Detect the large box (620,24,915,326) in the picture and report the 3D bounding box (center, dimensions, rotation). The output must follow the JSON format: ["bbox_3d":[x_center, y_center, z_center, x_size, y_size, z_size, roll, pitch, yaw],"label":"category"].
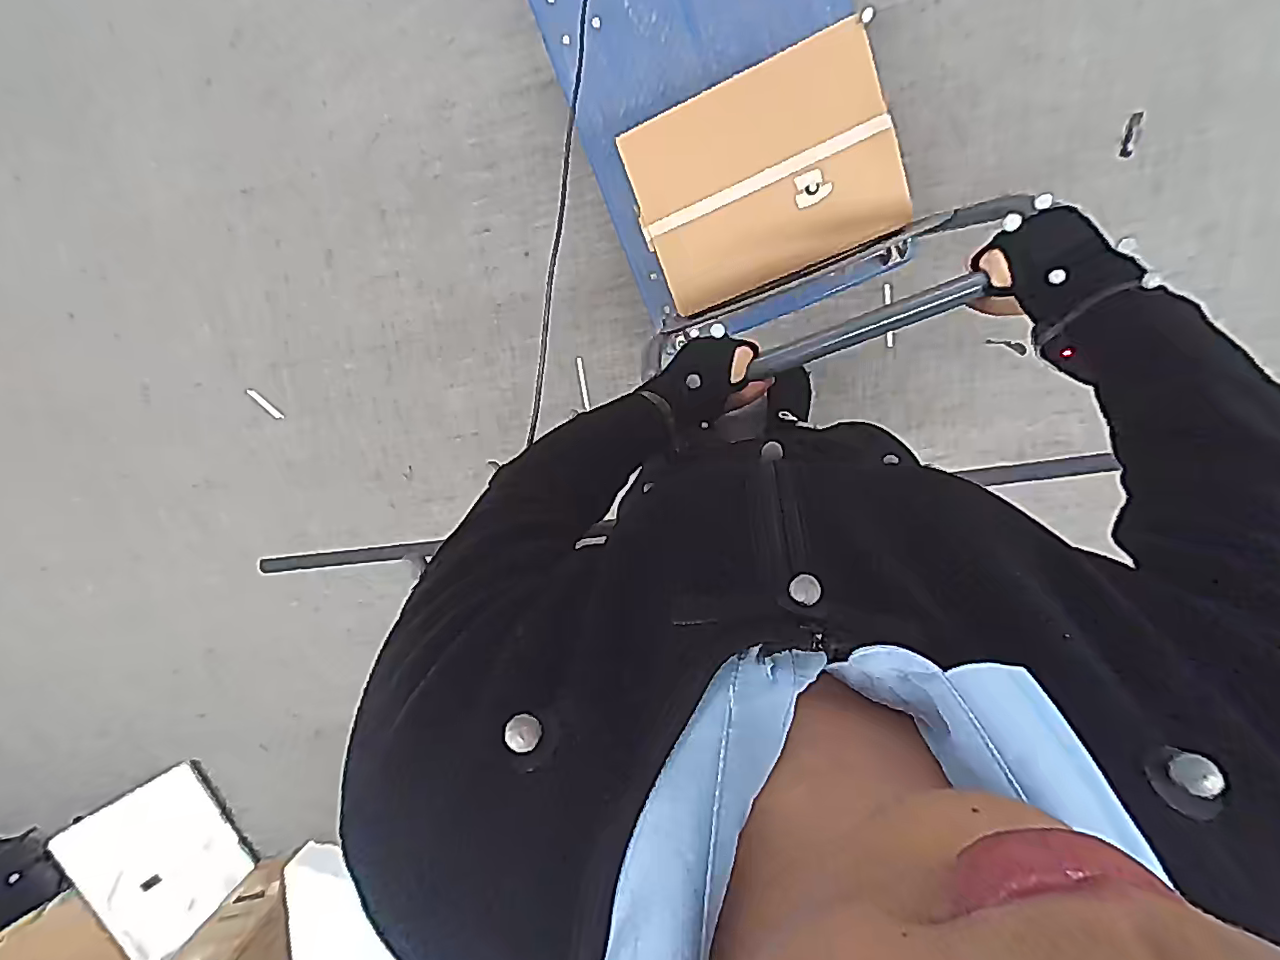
[{"bbox_3d":[0.220,-0.511,1.014,0.408,0.320,0.320,-20,103,13],"label":"large box"}]
